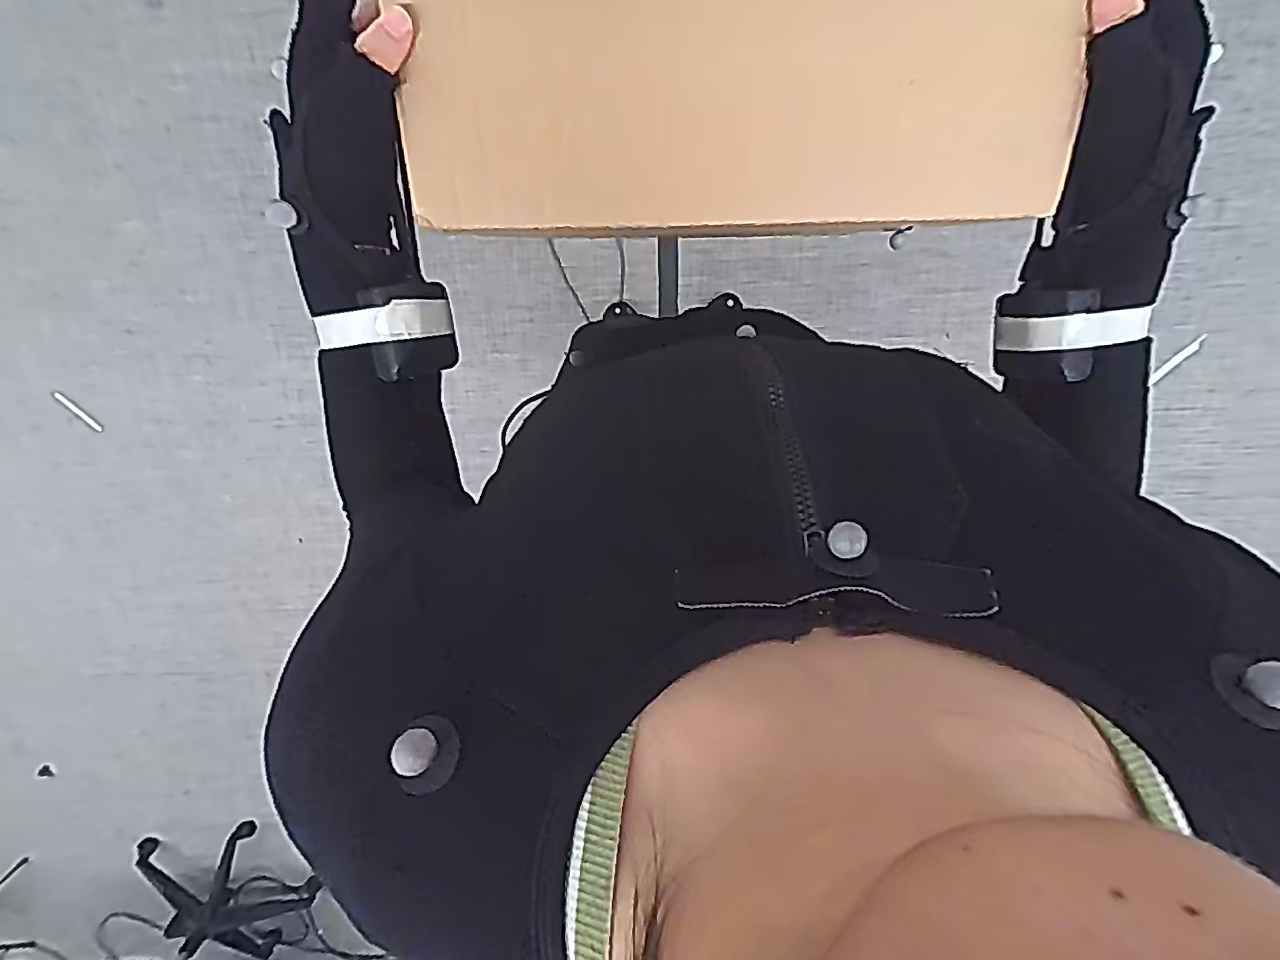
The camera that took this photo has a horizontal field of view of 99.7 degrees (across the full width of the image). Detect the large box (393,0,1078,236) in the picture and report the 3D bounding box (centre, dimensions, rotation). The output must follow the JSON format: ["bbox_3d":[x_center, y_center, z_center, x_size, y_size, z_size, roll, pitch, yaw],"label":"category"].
[{"bbox_3d":[0.054,-0.369,0.430,0.408,0.320,0.320,-2,113,-2],"label":"large box"}]
